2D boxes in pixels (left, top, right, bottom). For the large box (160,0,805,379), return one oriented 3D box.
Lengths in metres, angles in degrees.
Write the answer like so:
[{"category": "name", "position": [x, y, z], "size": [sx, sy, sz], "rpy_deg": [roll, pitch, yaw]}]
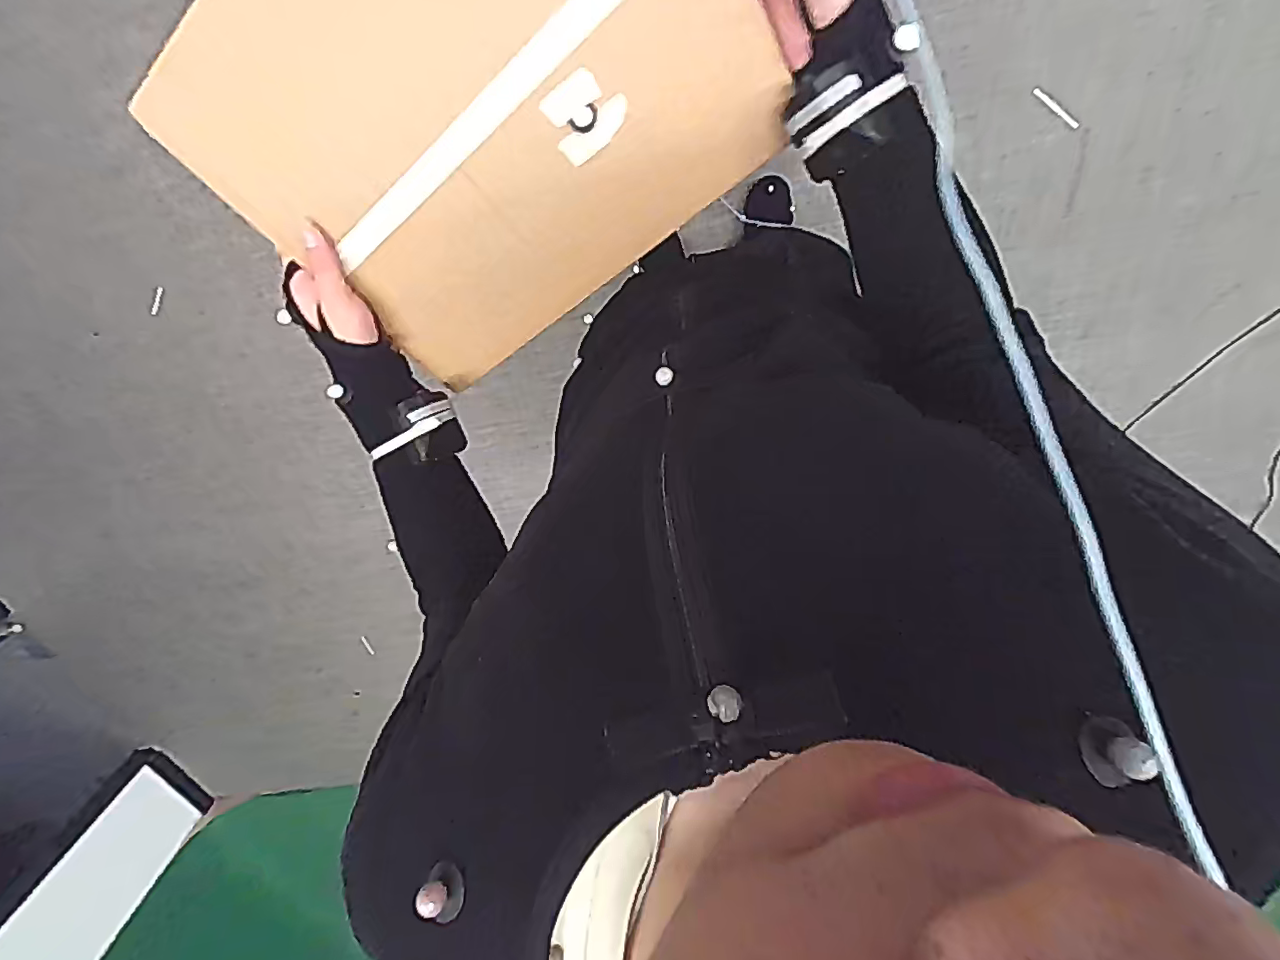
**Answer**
[{"category": "large box", "position": [-0.122, -0.383, 0.527], "size": [0.408, 0.320, 0.320], "rpy_deg": [-30, 127, 21]}]
